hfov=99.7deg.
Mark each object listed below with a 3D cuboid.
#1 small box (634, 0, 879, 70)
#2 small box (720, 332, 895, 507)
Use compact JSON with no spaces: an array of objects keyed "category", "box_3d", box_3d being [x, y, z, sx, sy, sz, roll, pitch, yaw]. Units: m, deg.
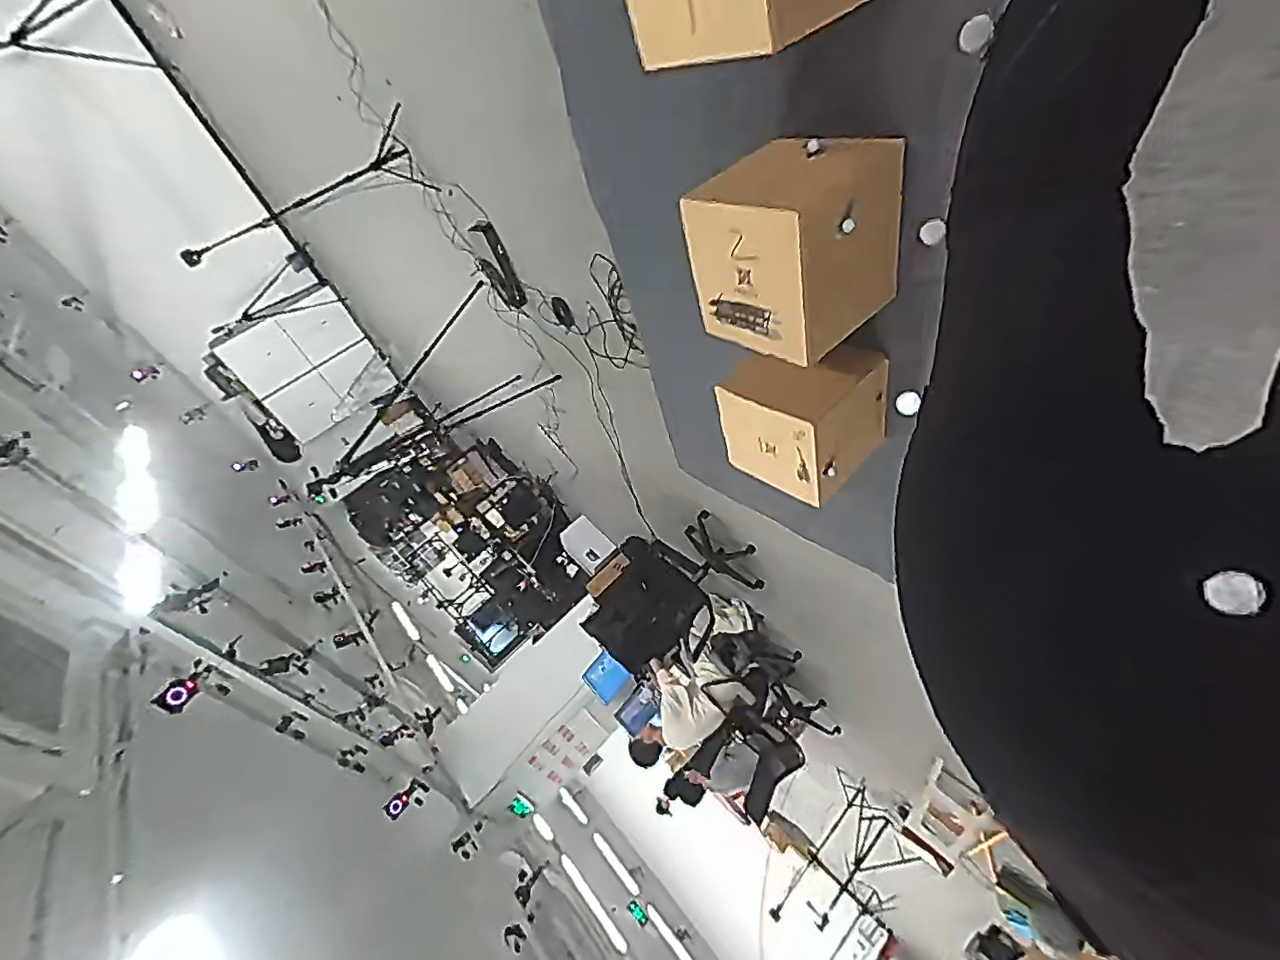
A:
[{"category":"small box","box_3d":[0.098,-0.465,0.430,0.168,0.176,0.179,36,158,42]},{"category":"small box","box_3d":[0.249,-0.098,0.810,0.179,0.176,0.168,34,157,40]}]
